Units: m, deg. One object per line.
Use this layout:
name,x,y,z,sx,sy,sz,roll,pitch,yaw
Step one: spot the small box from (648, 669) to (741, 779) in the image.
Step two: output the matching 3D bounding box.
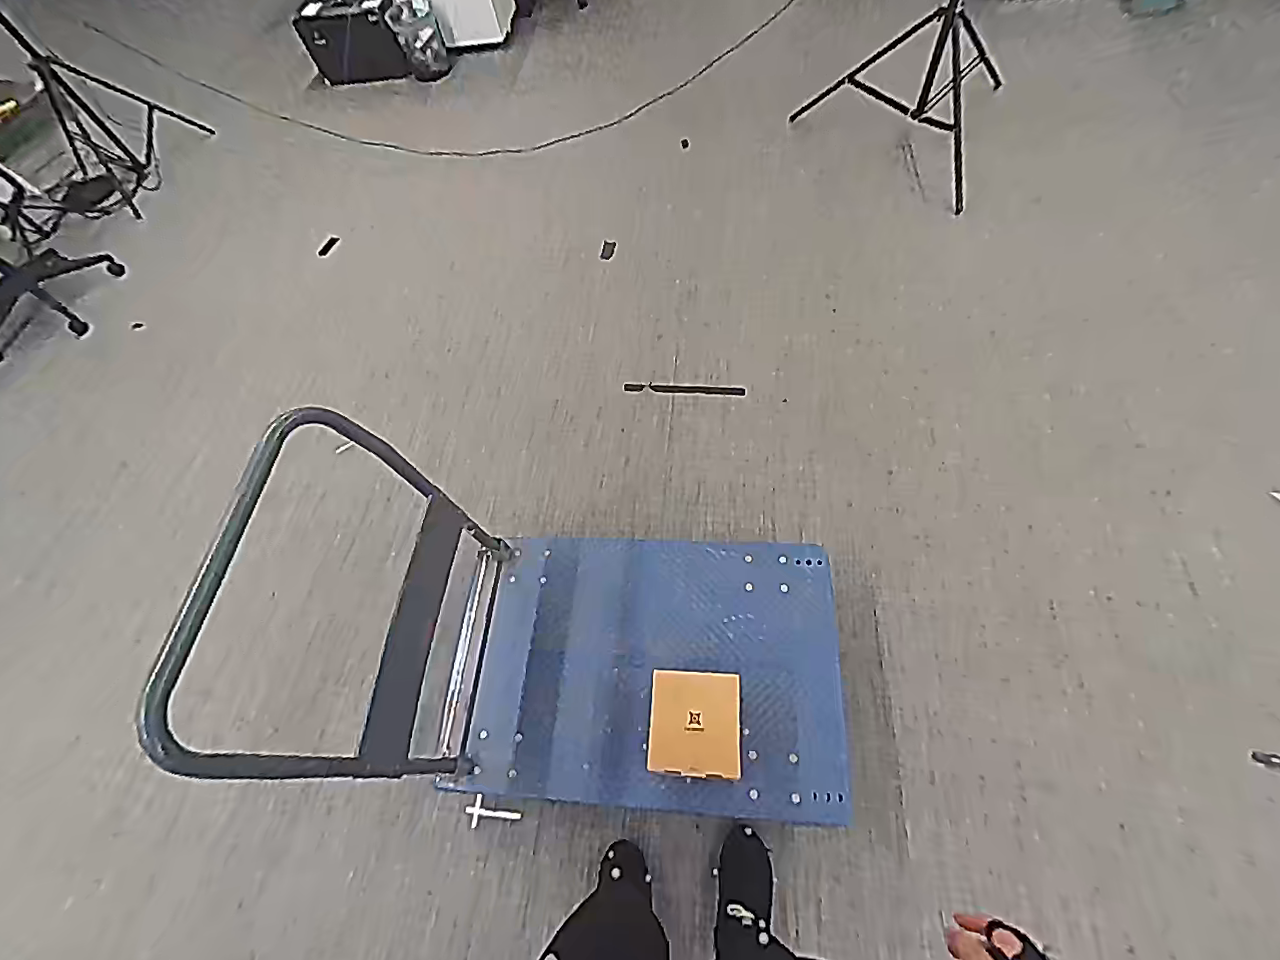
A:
small box,0.111,0.479,1.059,0.168,0.176,0.179,0,62,8
